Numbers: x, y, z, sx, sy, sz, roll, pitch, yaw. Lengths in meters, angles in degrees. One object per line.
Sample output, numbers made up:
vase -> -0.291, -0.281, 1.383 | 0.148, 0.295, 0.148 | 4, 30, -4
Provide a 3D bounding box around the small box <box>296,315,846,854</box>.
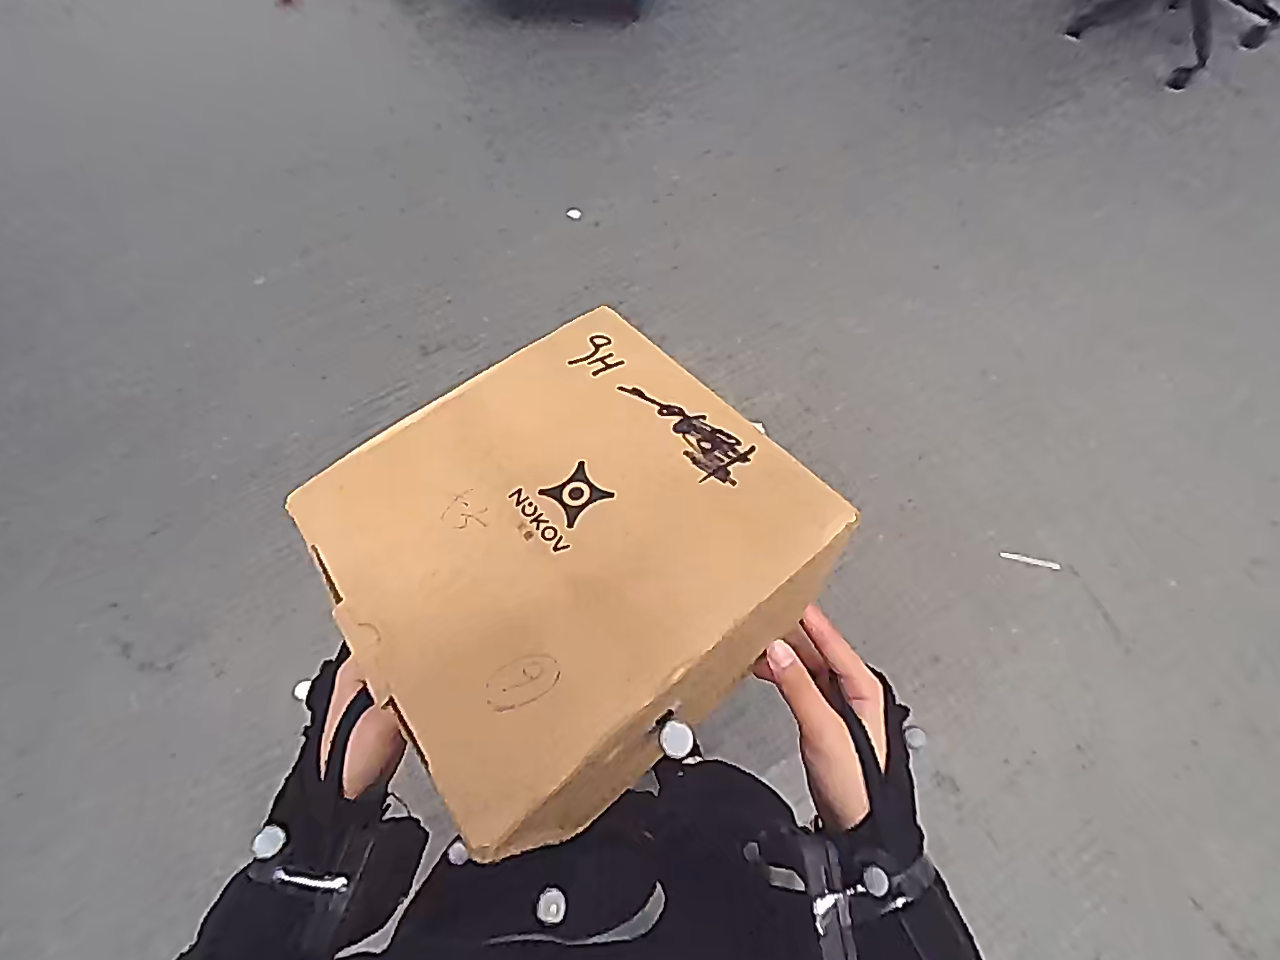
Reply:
small box -> -0.027, 0.056, 0.287 | 0.179, 0.176, 0.168 | -36, 62, -15
